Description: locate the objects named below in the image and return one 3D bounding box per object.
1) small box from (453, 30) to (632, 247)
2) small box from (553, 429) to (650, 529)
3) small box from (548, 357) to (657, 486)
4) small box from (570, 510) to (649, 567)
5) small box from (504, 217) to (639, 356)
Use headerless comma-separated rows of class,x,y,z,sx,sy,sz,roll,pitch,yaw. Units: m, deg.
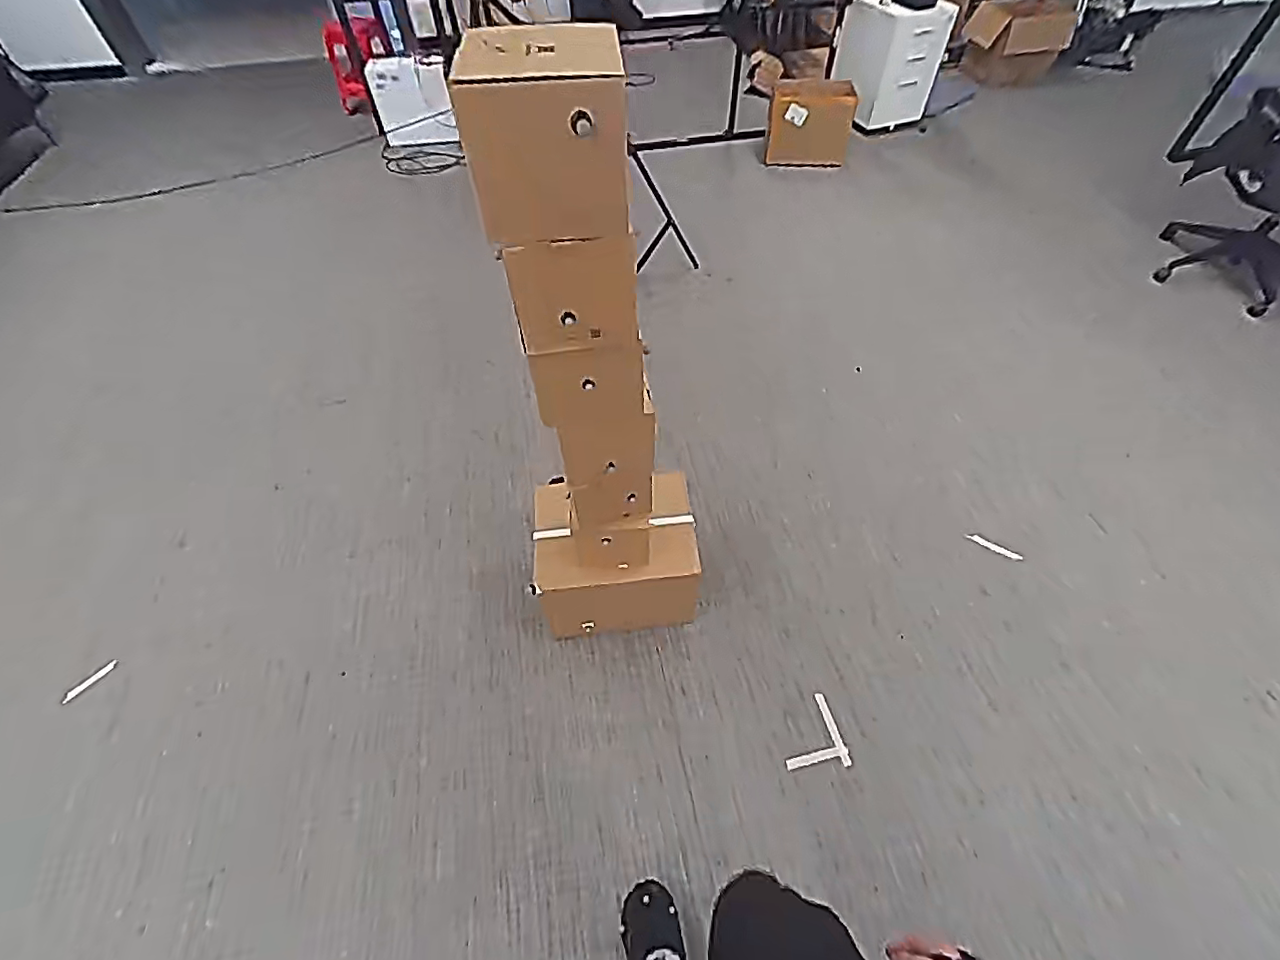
small box,-0.101,-0.397,0.637,0.179,0.176,0.168,-5,53,-2
small box,-0.079,-0.012,1.166,0.168,0.176,0.179,-15,53,-11
small box,-0.073,-0.109,1.035,0.179,0.176,0.168,-10,54,-8
small box,-0.069,0.097,1.287,0.179,0.176,0.168,-2,53,-2
small box,-0.096,-0.302,0.771,0.168,0.176,0.179,-8,54,-5
